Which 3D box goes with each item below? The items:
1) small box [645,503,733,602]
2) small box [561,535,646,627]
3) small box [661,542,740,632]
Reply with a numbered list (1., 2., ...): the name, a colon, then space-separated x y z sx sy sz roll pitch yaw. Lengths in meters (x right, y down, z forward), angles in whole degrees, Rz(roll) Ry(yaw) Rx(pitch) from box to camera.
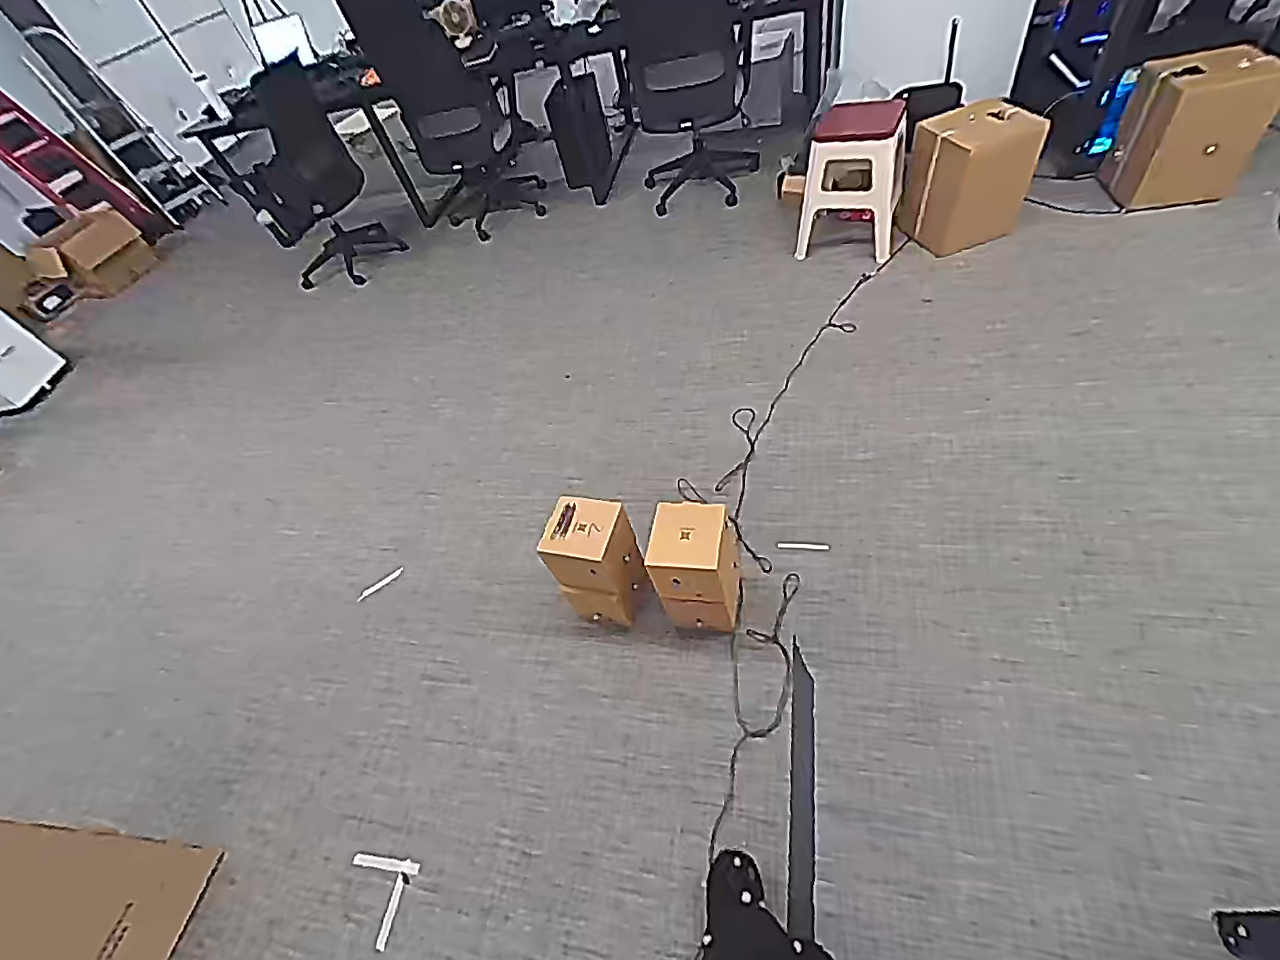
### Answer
1. small box: 0.125 0.173 1.285 0.168 0.176 0.179 0 51 18
2. small box: -0.090 0.275 1.479 0.168 0.176 0.179 6 55 21
3. small box: 0.164 0.274 1.406 0.168 0.176 0.179 0 52 19
